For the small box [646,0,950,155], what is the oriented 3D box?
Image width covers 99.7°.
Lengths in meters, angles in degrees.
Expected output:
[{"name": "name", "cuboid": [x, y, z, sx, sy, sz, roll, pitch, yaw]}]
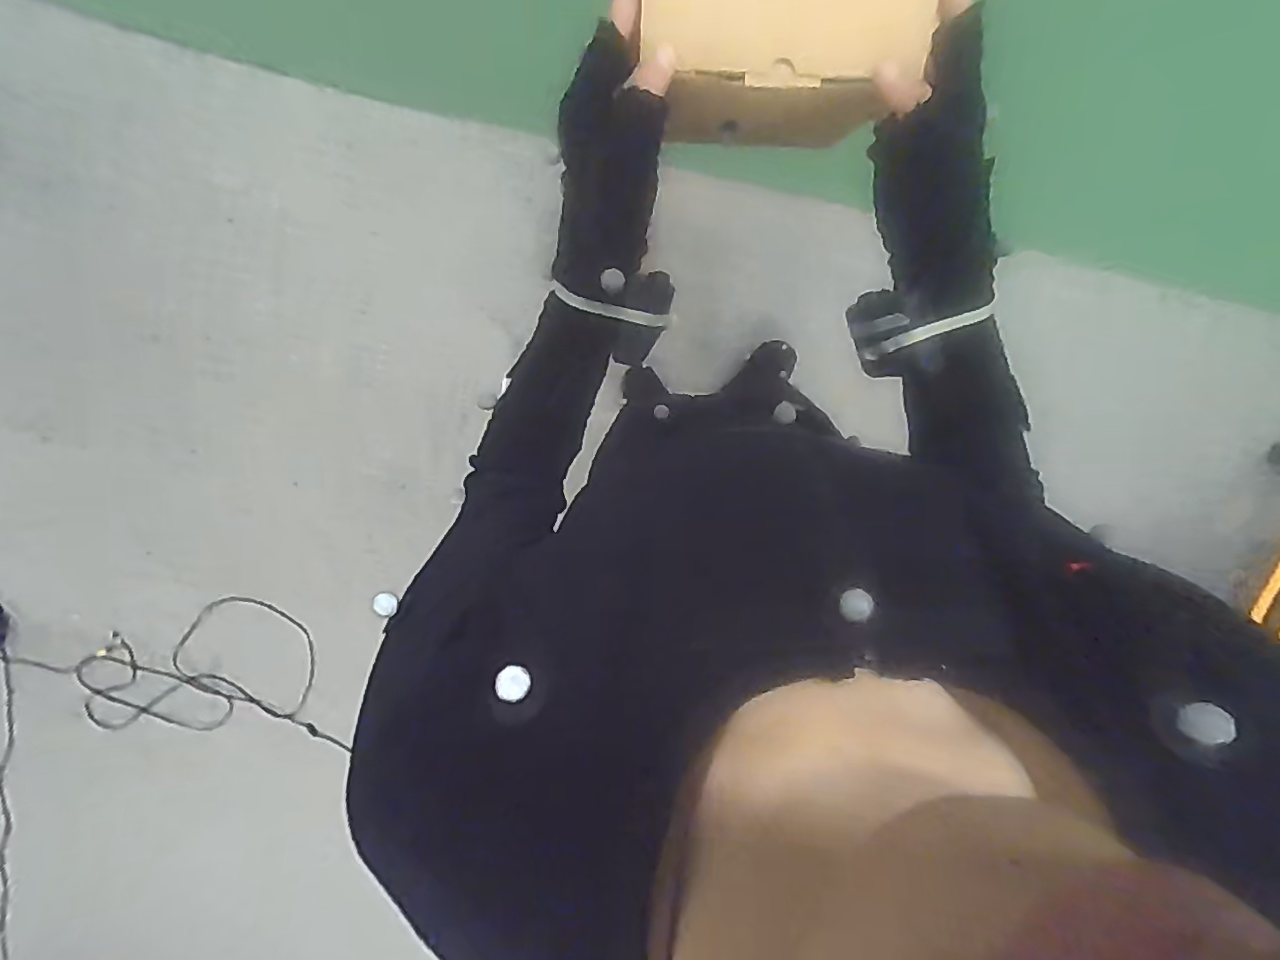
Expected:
[{"name": "small box", "cuboid": [0.091, -0.336, 0.358, 0.168, 0.176, 0.179, 2, 111, -1]}]

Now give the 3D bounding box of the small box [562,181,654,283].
[{"name": "small box", "cuboid": [-0.072, -0.567, 1.262, 0.179, 0.176, 0.168, 12, 103, -3]}]
